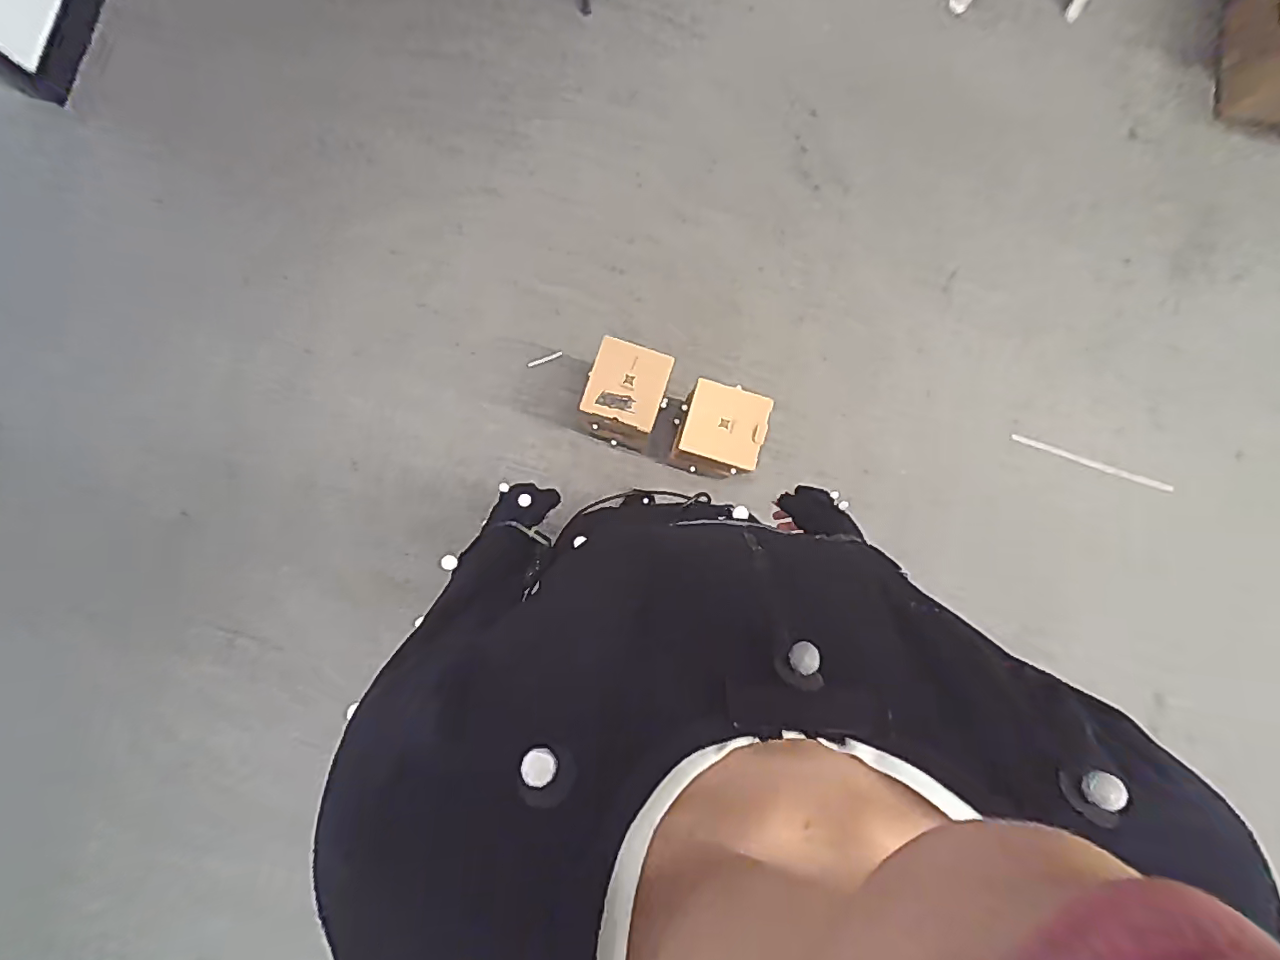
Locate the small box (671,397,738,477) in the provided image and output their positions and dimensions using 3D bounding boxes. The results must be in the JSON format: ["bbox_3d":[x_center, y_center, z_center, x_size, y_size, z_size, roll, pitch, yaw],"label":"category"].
[{"bbox_3d":[0.183,-0.116,1.409,0.168,0.176,0.179,18,88,0],"label":"small box"}]

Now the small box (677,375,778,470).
[{"bbox_3d":[0.192,-0.124,1.245,0.179,0.176,0.168,17,88,-1],"label":"small box"}]
